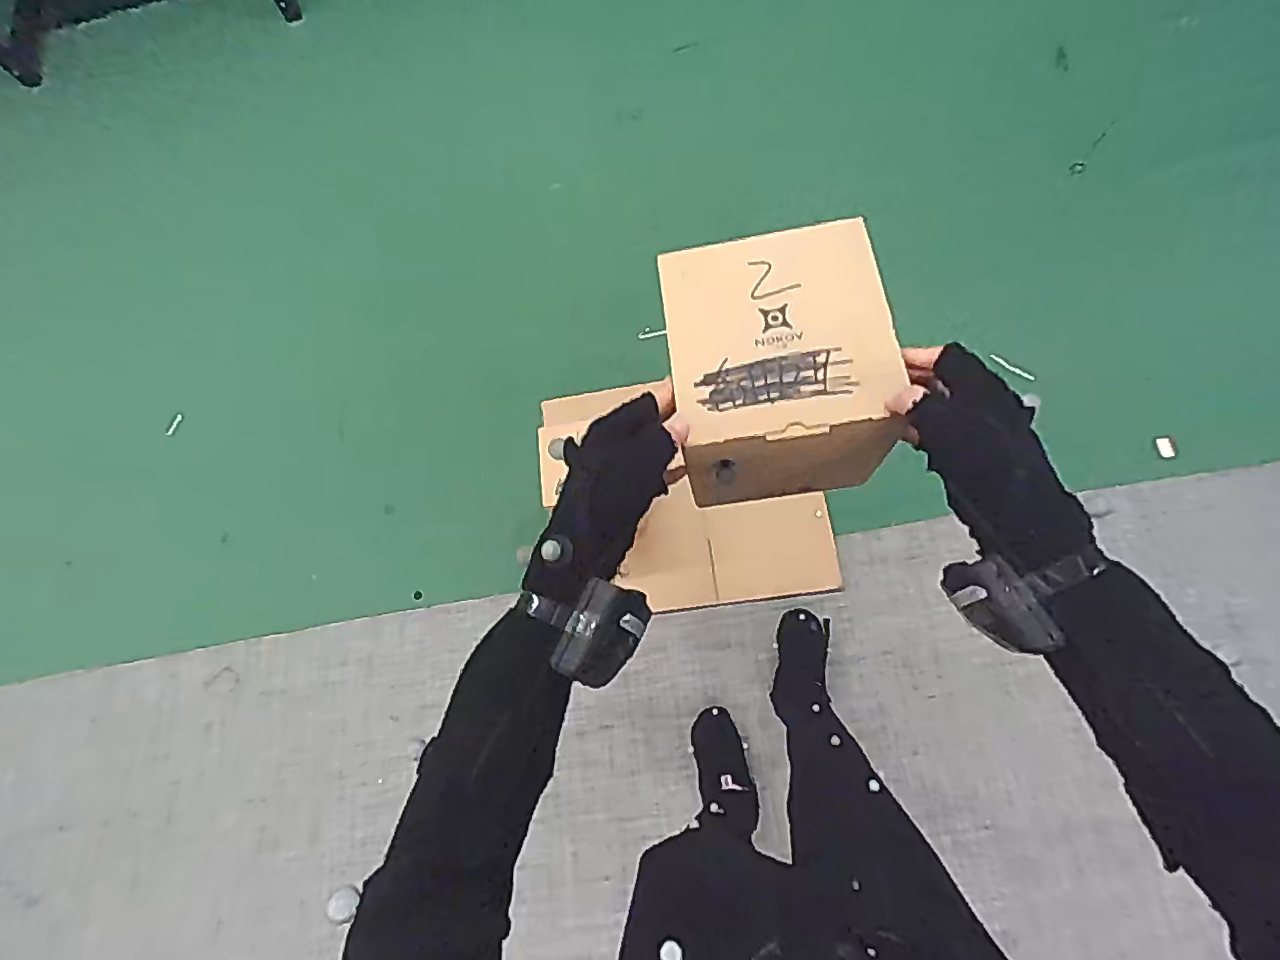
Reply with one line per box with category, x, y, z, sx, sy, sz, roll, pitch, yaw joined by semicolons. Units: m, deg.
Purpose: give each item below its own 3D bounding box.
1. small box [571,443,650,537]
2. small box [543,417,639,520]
small box;-0.075;0.030;1.323;0.168;0.176;0.179;-10;73;7
small box;-0.101;-0.016;1.168;0.168;0.176;0.179;-9;72;7
